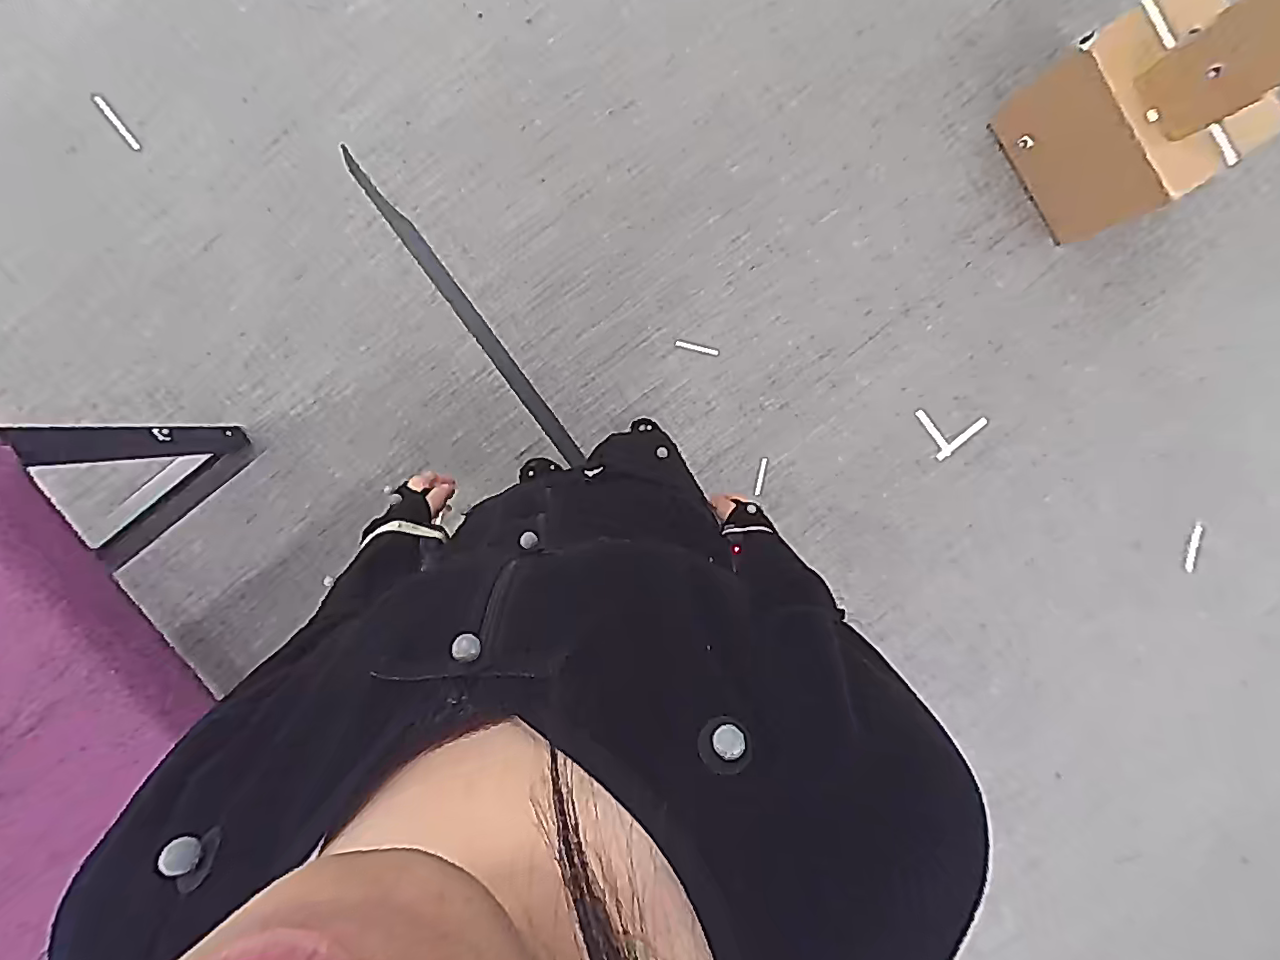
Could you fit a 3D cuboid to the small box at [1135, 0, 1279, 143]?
[{"bbox_3d":[1.180,-0.840,1.099,0.168,0.176,0.179,-37,97,2],"label":"small box"}]
